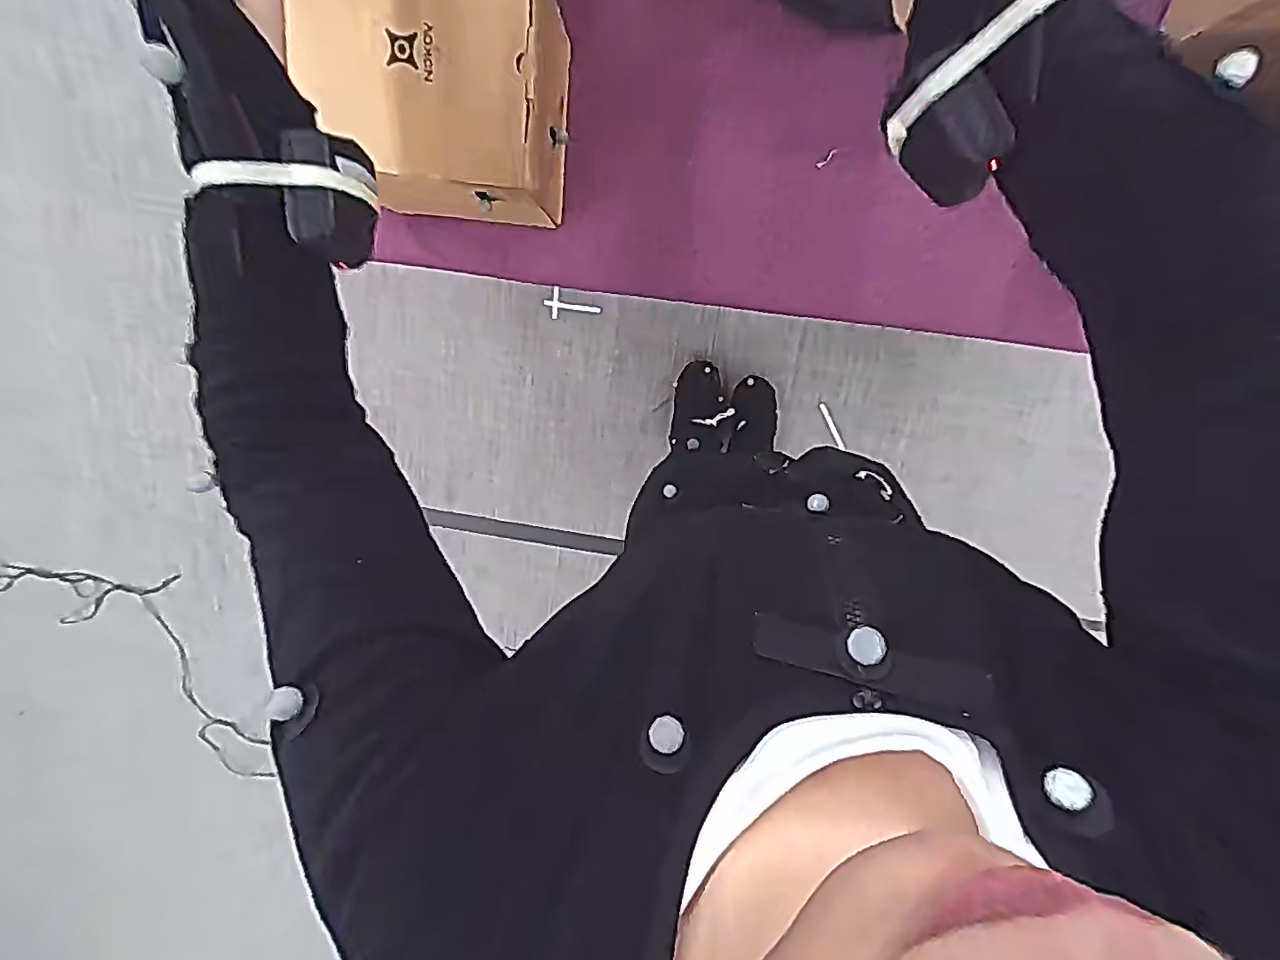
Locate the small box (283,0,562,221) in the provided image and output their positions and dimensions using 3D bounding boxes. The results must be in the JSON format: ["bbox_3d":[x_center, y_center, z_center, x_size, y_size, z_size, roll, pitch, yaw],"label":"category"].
[{"bbox_3d":[-0.170,-0.334,0.470,0.179,0.176,0.168,5,106,-2],"label":"small box"}]
